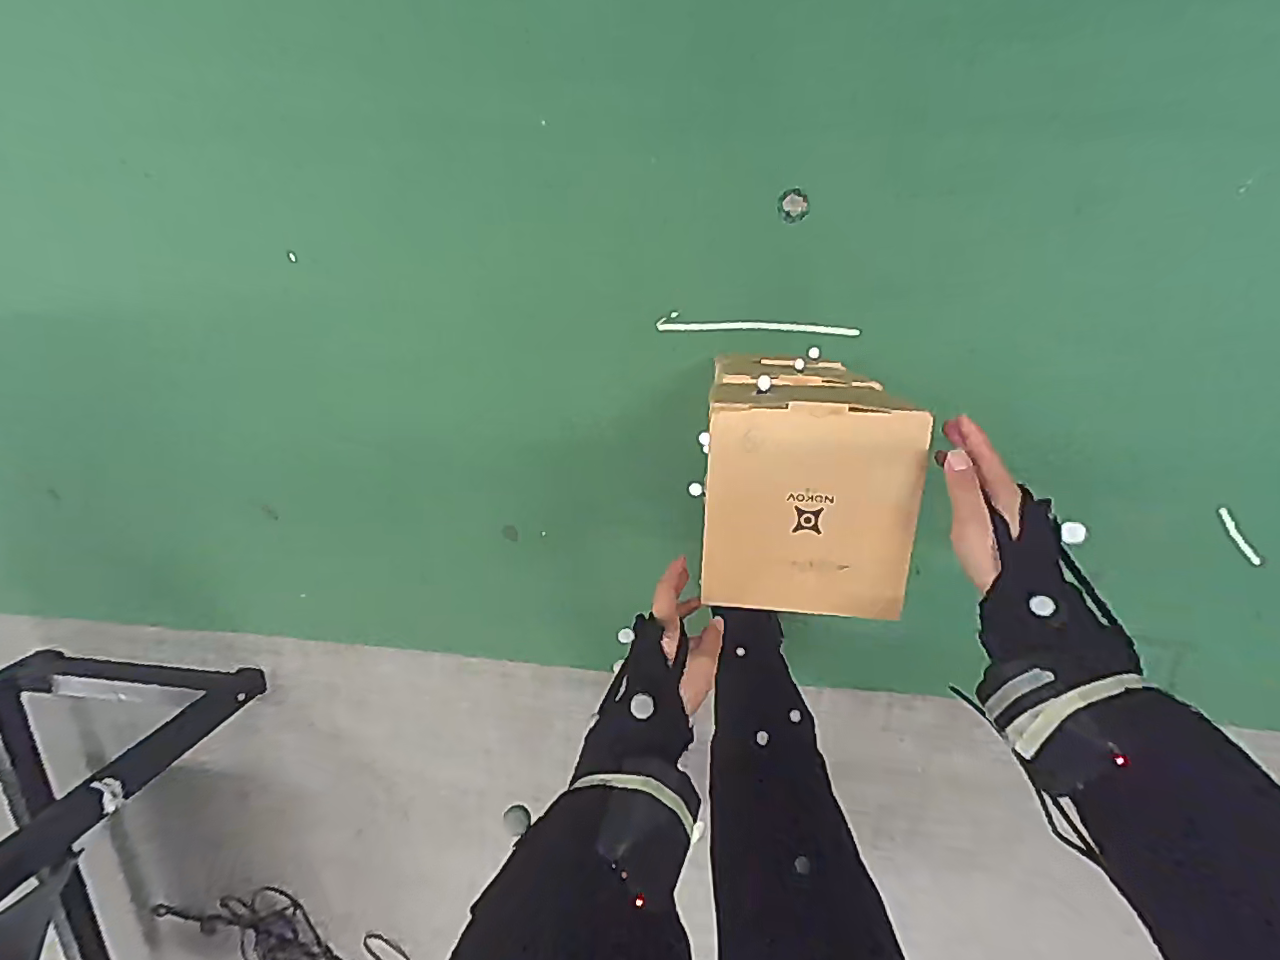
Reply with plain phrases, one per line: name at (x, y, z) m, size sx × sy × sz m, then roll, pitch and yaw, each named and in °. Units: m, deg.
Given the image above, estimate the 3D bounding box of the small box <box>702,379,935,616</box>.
small box at (0.145, 0.001, 0.502) m, size 0.168 × 0.176 × 0.179 m, roll 3°, pitch 107°, yaw 9°

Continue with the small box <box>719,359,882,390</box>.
small box at (0.173, -0.049, 0.655) m, size 0.168 × 0.176 × 0.179 m, roll 5°, pitch 106°, yaw 7°
